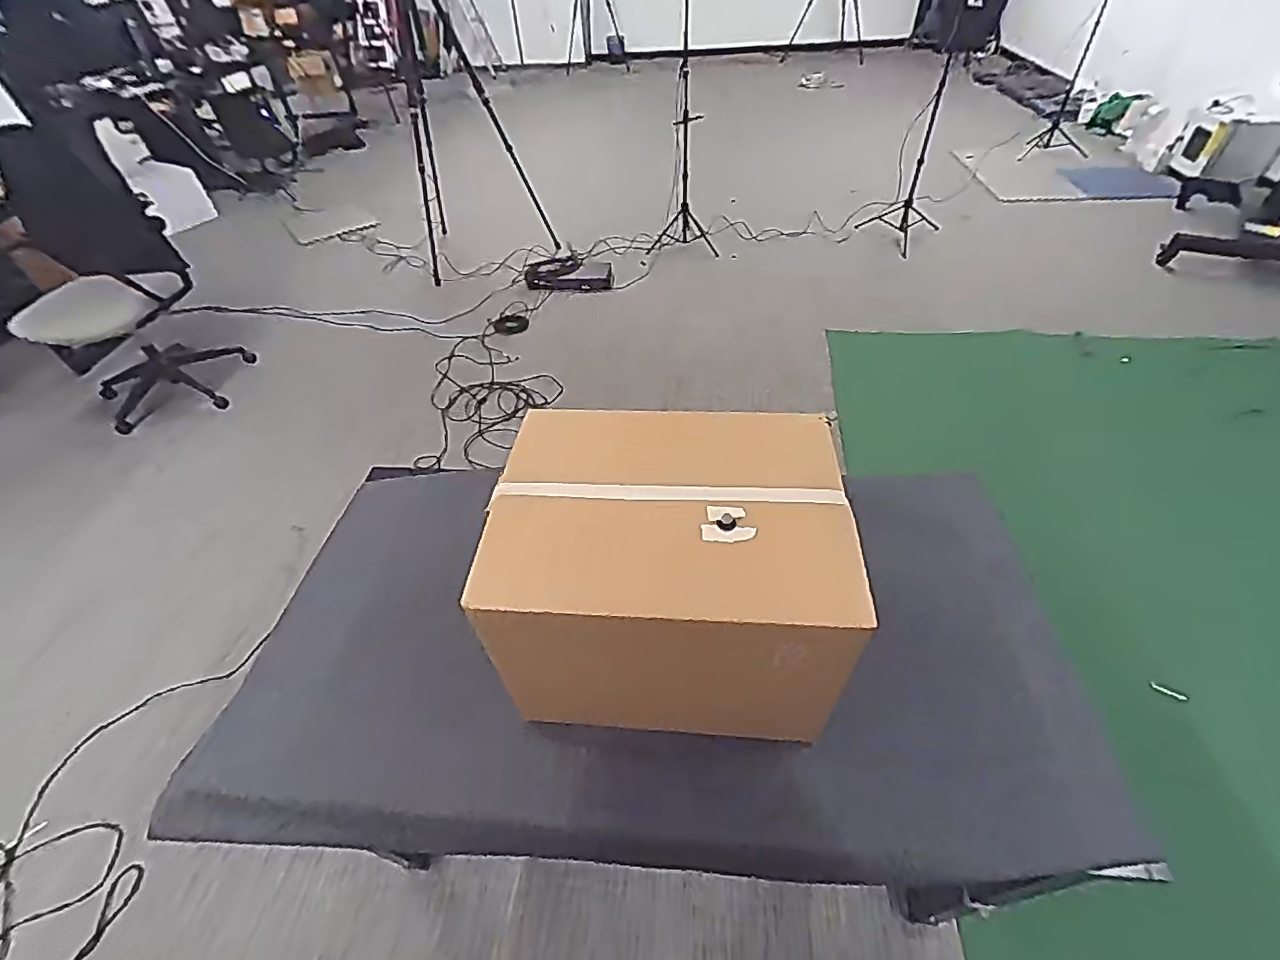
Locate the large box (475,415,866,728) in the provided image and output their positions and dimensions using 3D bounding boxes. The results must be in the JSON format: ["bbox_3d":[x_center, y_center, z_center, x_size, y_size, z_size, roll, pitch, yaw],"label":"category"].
[{"bbox_3d":[0.040,0.125,0.748,0.408,0.320,0.320,2,47,5],"label":"large box"}]
